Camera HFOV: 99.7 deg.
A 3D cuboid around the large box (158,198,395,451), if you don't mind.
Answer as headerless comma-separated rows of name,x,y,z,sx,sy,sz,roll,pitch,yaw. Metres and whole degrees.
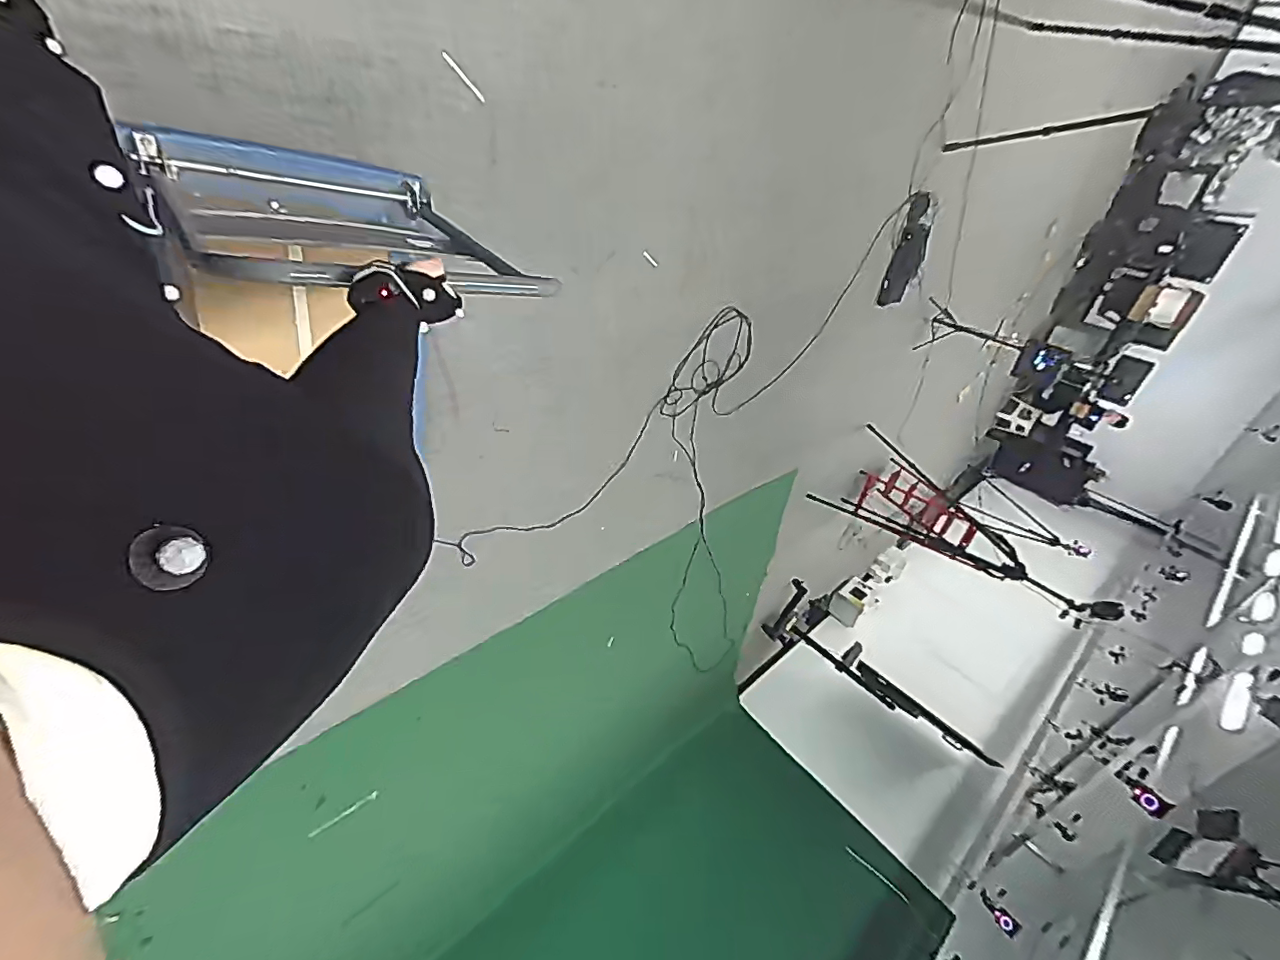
large box,-0.735,-0.328,1.126,0.320,0.320,0.408,-16,131,-40
